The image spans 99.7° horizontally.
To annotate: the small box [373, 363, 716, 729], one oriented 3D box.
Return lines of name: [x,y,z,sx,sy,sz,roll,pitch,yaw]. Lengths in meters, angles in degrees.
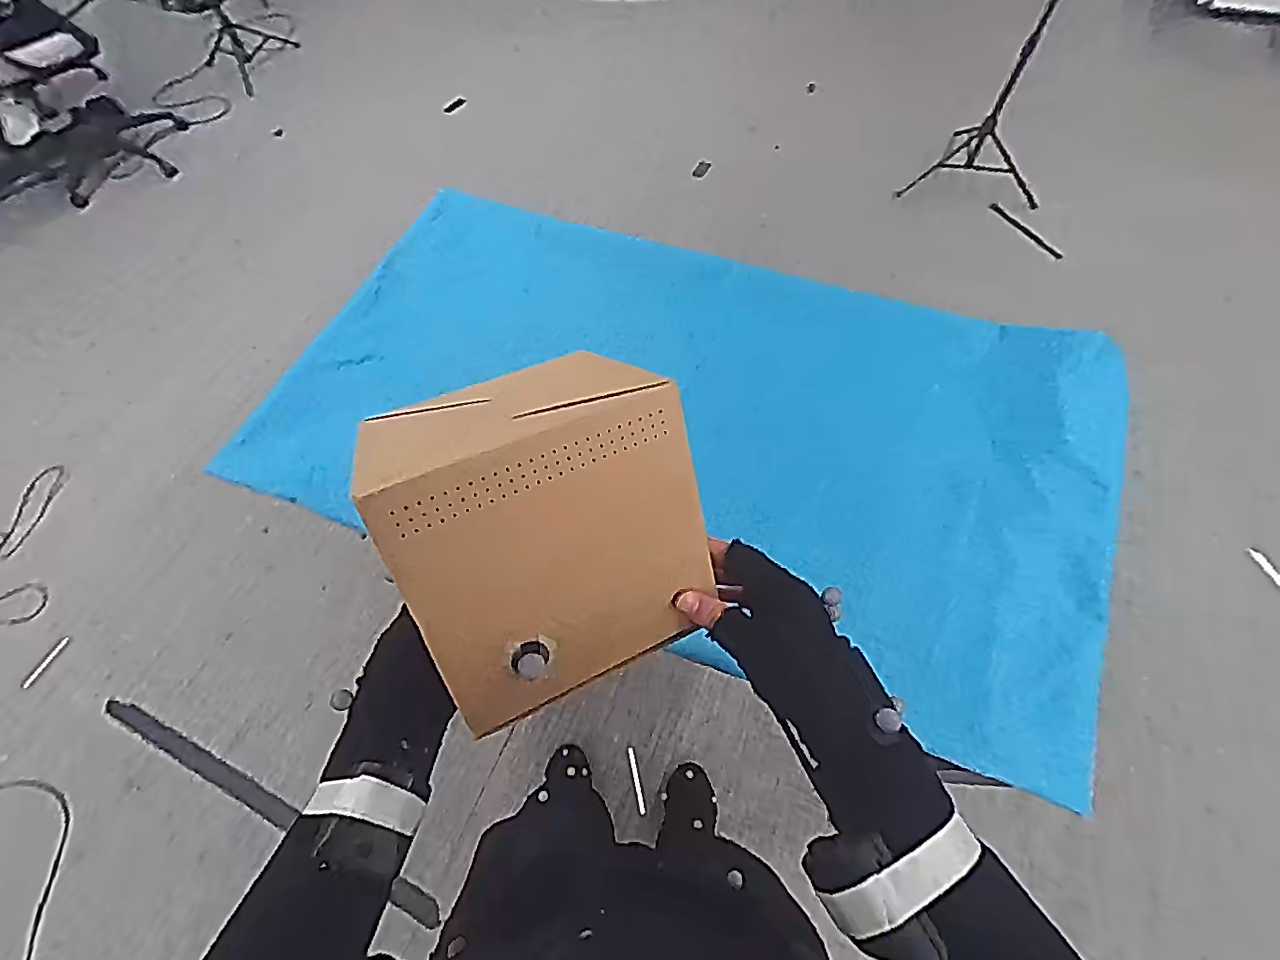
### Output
small box: [-0.072,0.025,0.384,0.179,0.176,0.168,-22,27,-18]
